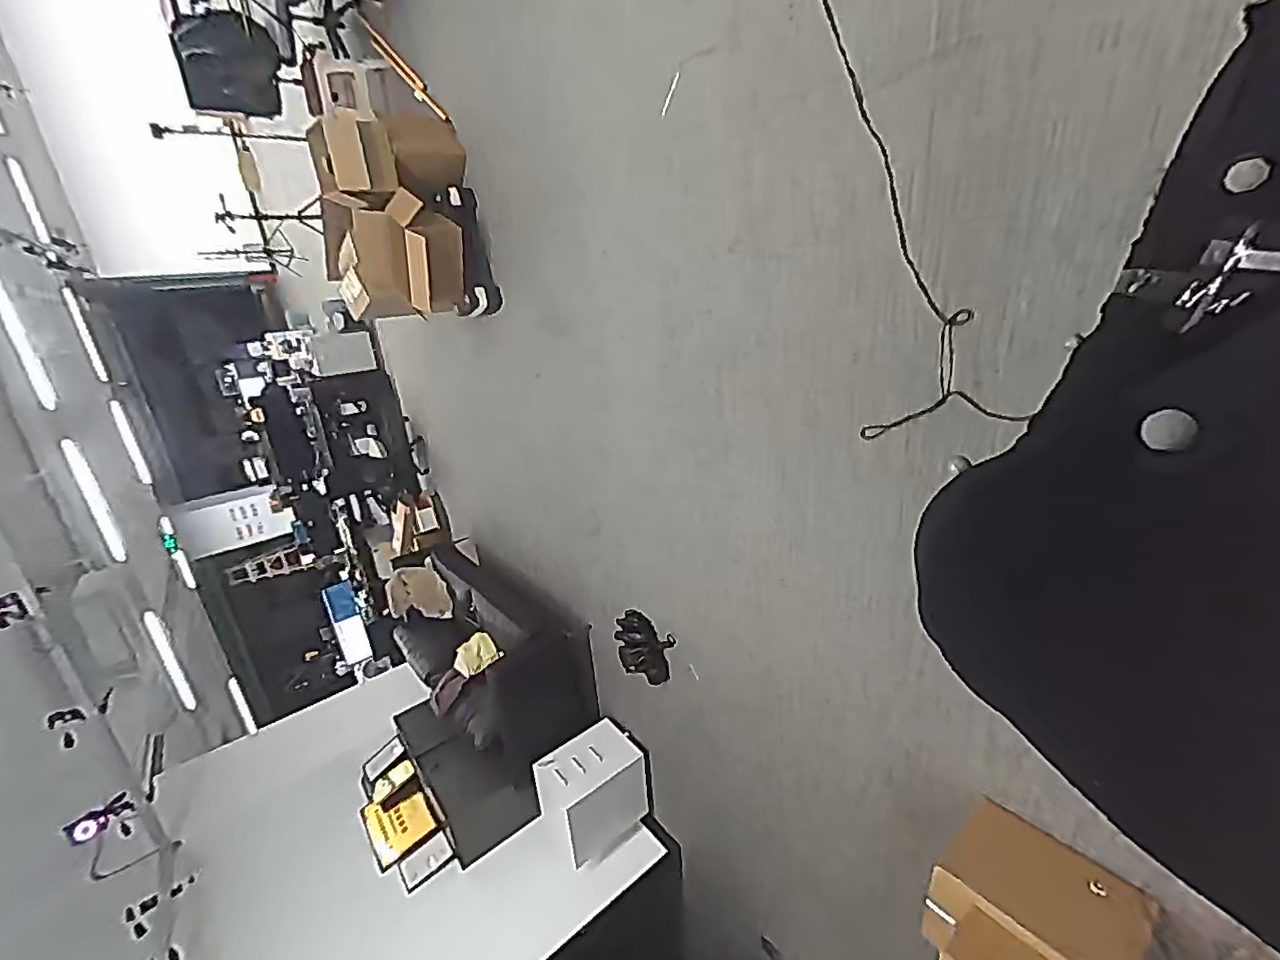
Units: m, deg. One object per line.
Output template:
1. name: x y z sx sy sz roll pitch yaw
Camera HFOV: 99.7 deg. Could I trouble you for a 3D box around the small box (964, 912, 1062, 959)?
1. small box: 0.896 1.200 1.289 0.179 0.176 0.168 20 120 52
